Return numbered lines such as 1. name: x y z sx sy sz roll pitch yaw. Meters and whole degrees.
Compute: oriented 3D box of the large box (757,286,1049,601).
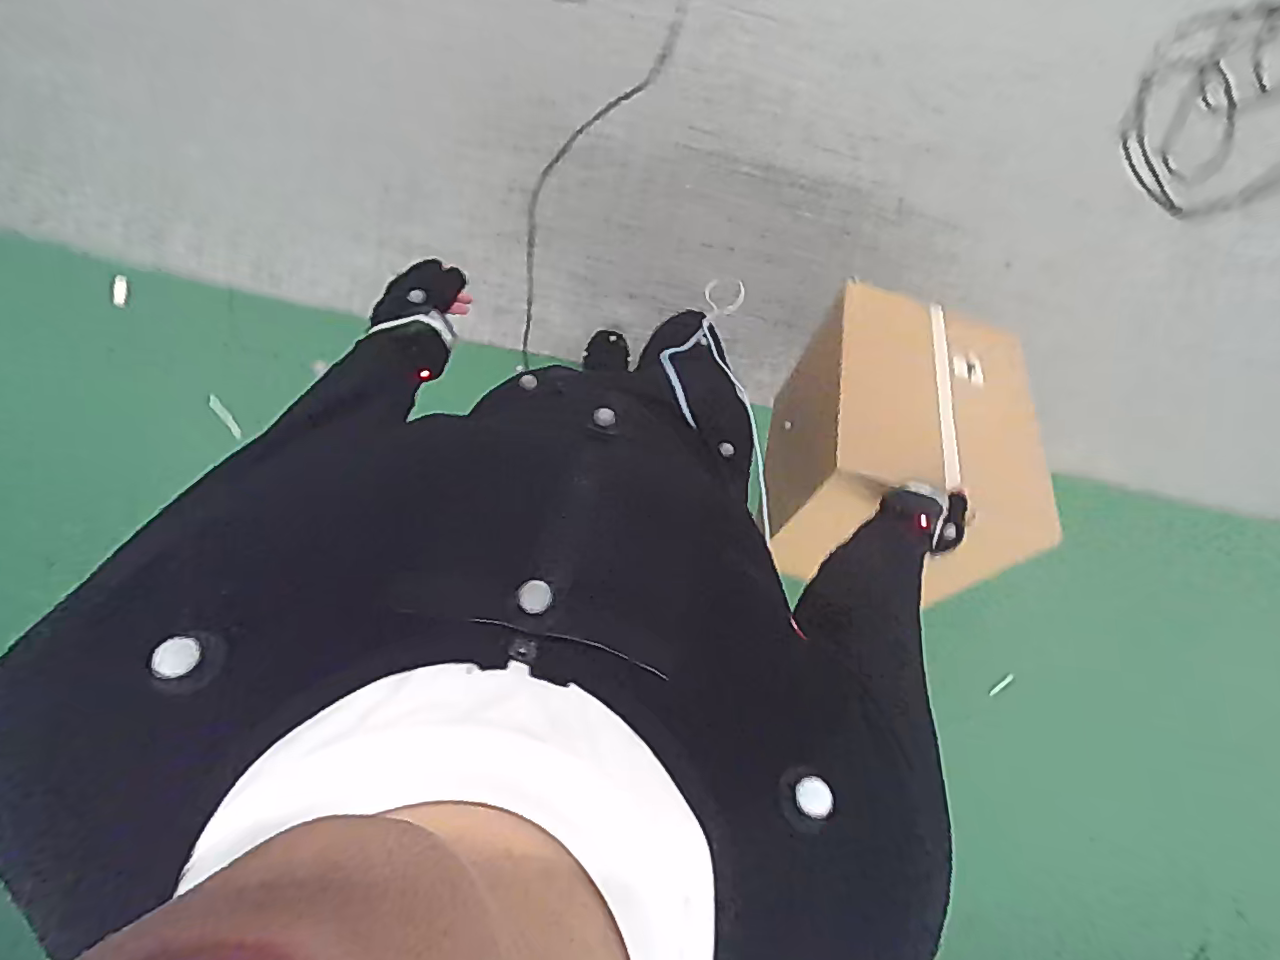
1. large box: 0.416 -0.054 0.946 0.320 0.408 0.320 18 146 -2
